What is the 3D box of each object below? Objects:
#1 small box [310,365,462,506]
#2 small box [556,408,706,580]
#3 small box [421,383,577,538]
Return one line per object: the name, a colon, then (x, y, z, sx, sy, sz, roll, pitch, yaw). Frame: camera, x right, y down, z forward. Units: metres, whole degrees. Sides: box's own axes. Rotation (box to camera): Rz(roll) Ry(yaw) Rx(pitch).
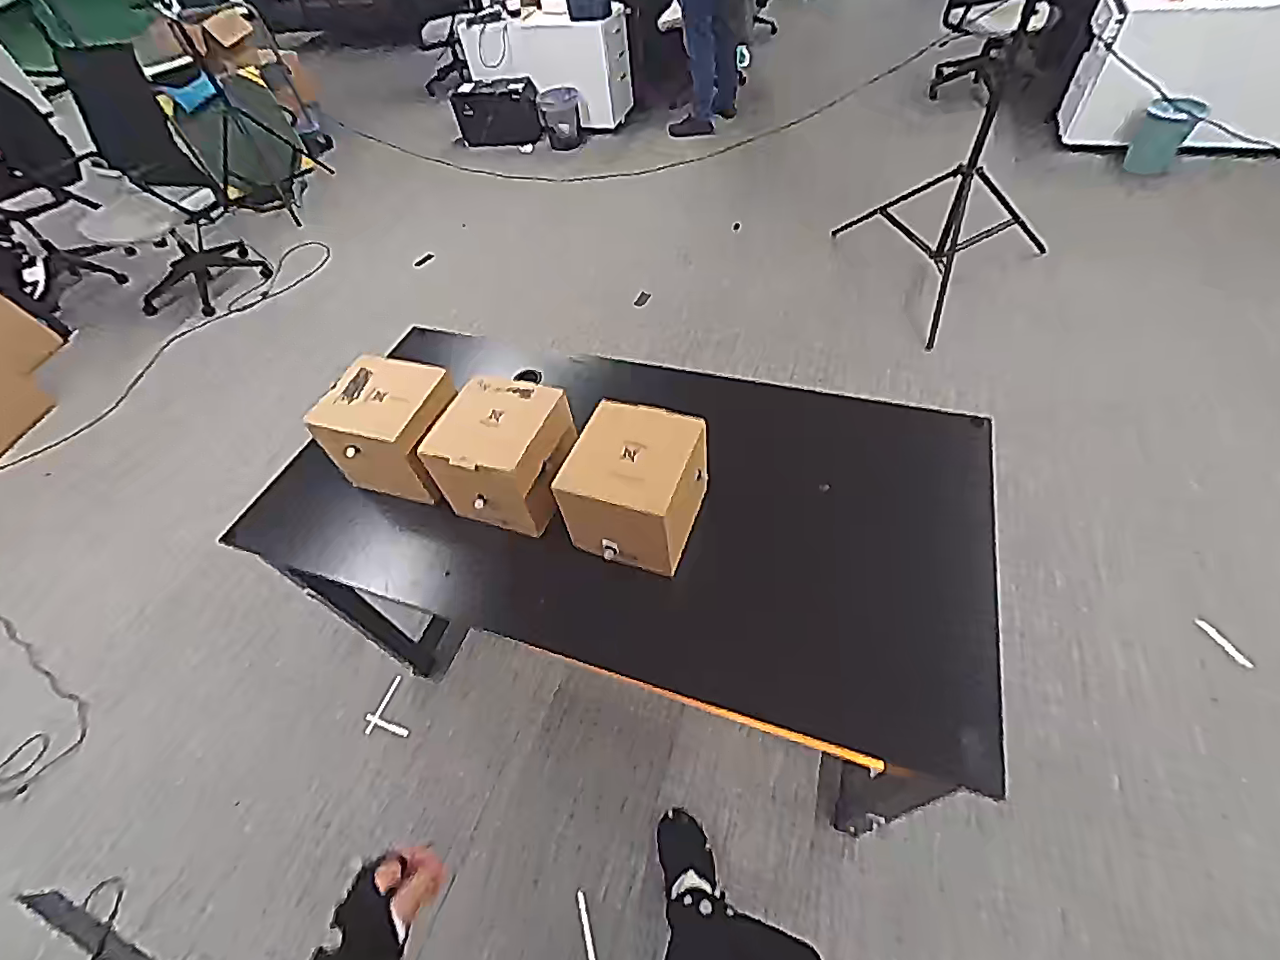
small box: (-0.415, -0.075, 0.944, 0.179, 0.176, 0.168, 11, 55, 14)
small box: (-0.003, 0.021, 0.820, 0.168, 0.176, 0.179, 13, 55, 18)
small box: (-0.213, -0.030, 0.885, 0.168, 0.176, 0.179, 13, 55, 17)
